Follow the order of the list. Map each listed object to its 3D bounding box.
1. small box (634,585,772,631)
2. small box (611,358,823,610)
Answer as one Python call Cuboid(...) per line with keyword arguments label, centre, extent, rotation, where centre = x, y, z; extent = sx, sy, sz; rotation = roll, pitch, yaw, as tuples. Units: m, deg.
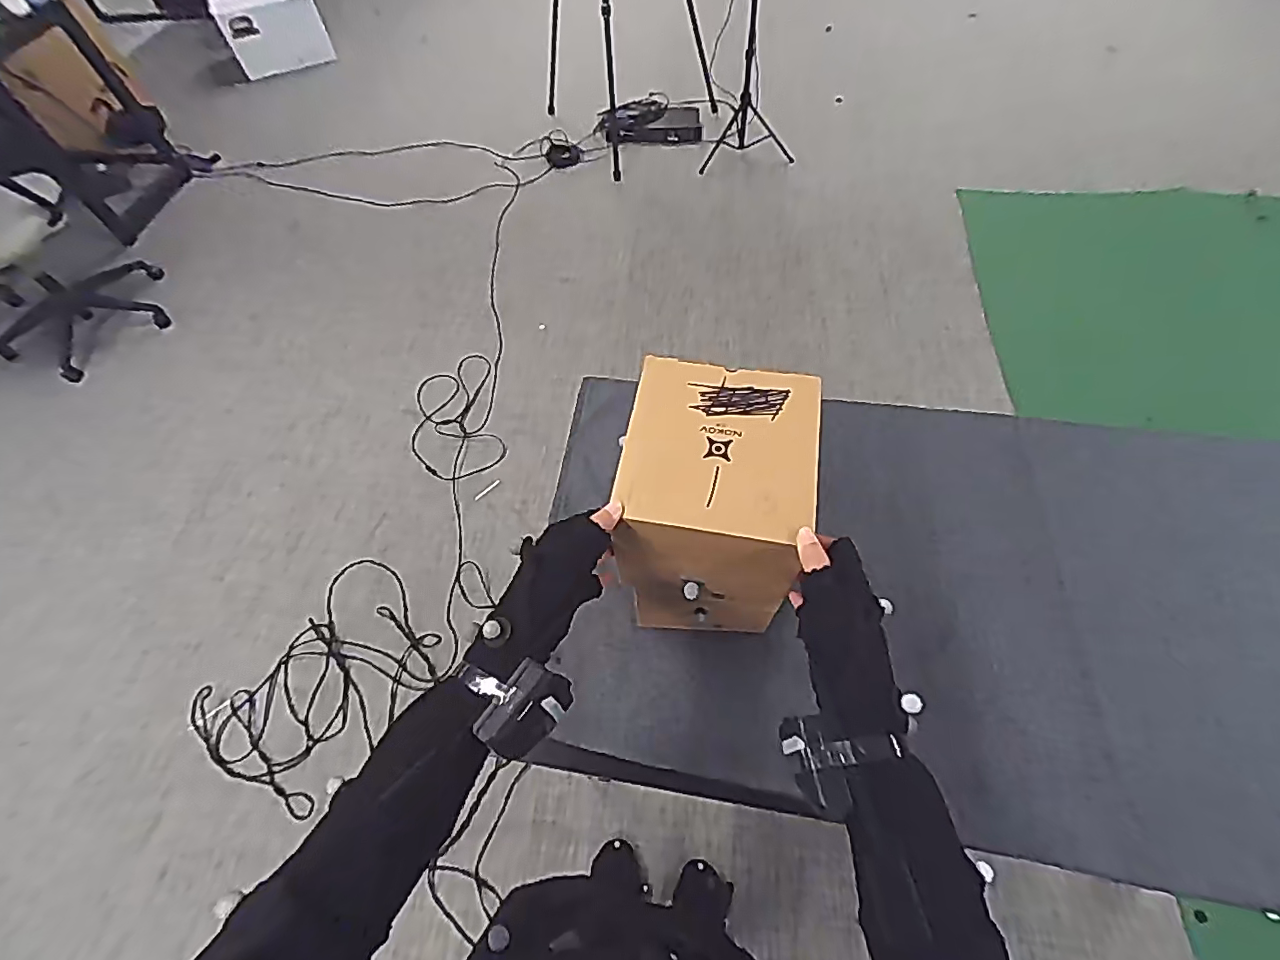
Cuboid(label="small box", centre=(0.083, 0.082, 0.682), extent=(0.168, 0.176, 0.179), rotation=(2, 58, 3))
Cuboid(label="small box", centre=(0.074, 0.009, 0.535), extent=(0.168, 0.176, 0.179), rotation=(9, 61, 8))
